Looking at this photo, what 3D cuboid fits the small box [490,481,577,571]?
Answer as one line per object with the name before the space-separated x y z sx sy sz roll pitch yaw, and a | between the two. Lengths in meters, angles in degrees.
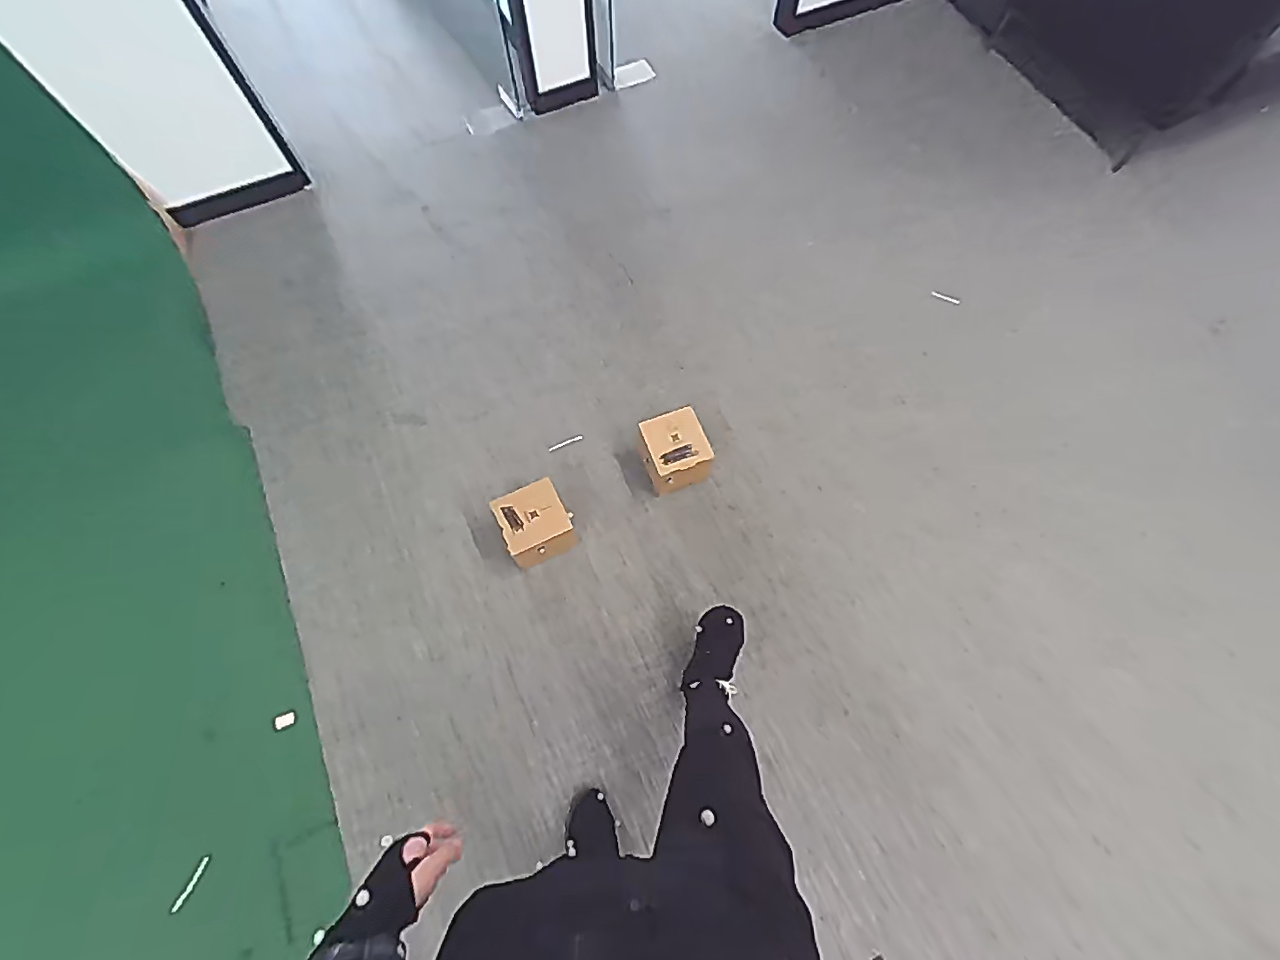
small box | -0.288 0.133 1.497 0.179 0.176 0.168 -24 70 -11
